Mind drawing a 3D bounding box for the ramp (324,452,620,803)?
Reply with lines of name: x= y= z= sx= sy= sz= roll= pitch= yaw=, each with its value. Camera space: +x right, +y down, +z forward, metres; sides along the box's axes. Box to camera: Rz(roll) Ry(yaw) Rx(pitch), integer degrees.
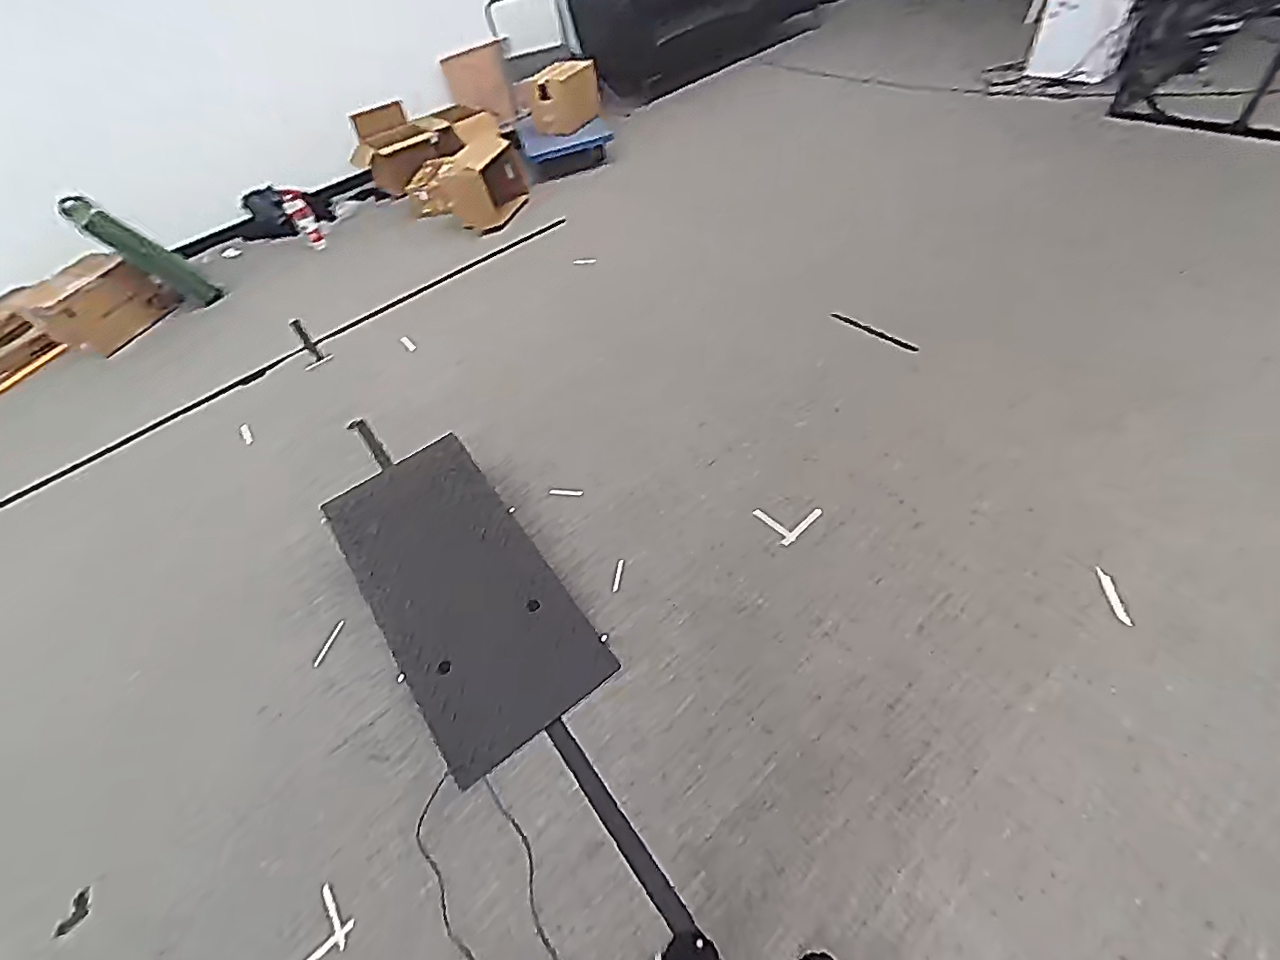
ramp: x=-0.537 y=0.350 z=1.625 sx=0.509 sy=0.206 sz=0.991 roll=-35 pitch=52 yaw=-19
